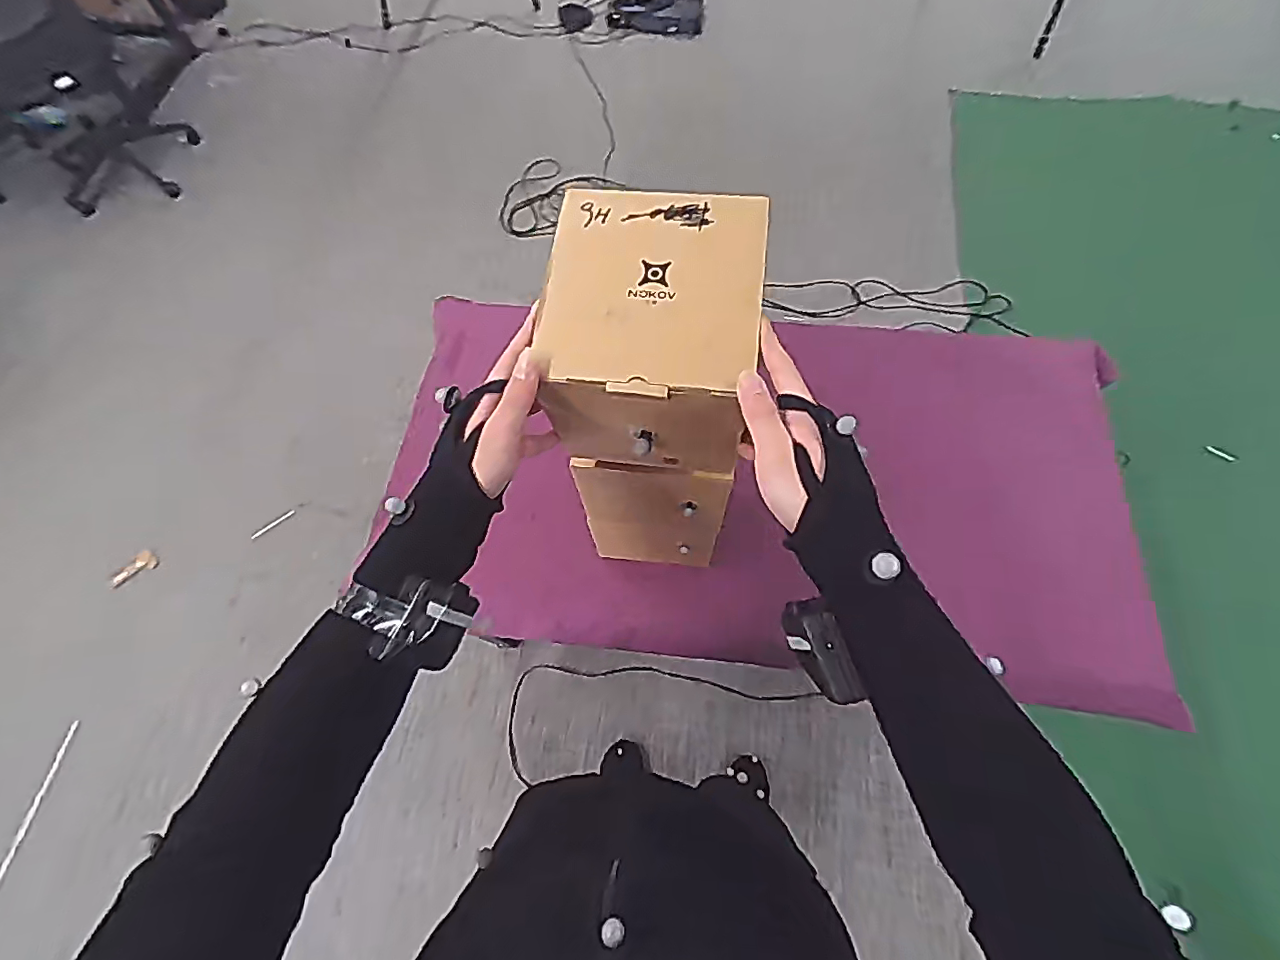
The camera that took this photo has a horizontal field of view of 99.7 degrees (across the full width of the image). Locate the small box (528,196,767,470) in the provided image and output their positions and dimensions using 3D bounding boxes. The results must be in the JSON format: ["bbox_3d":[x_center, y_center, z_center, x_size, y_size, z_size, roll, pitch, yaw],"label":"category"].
[{"bbox_3d":[0.015,-0.119,0.486,0.168,0.176,0.179,6,73,7],"label":"small box"}]

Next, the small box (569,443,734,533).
[{"bbox_3d":[0.023,-0.042,0.674,0.179,0.176,0.168,5,65,5],"label":"small box"}]
